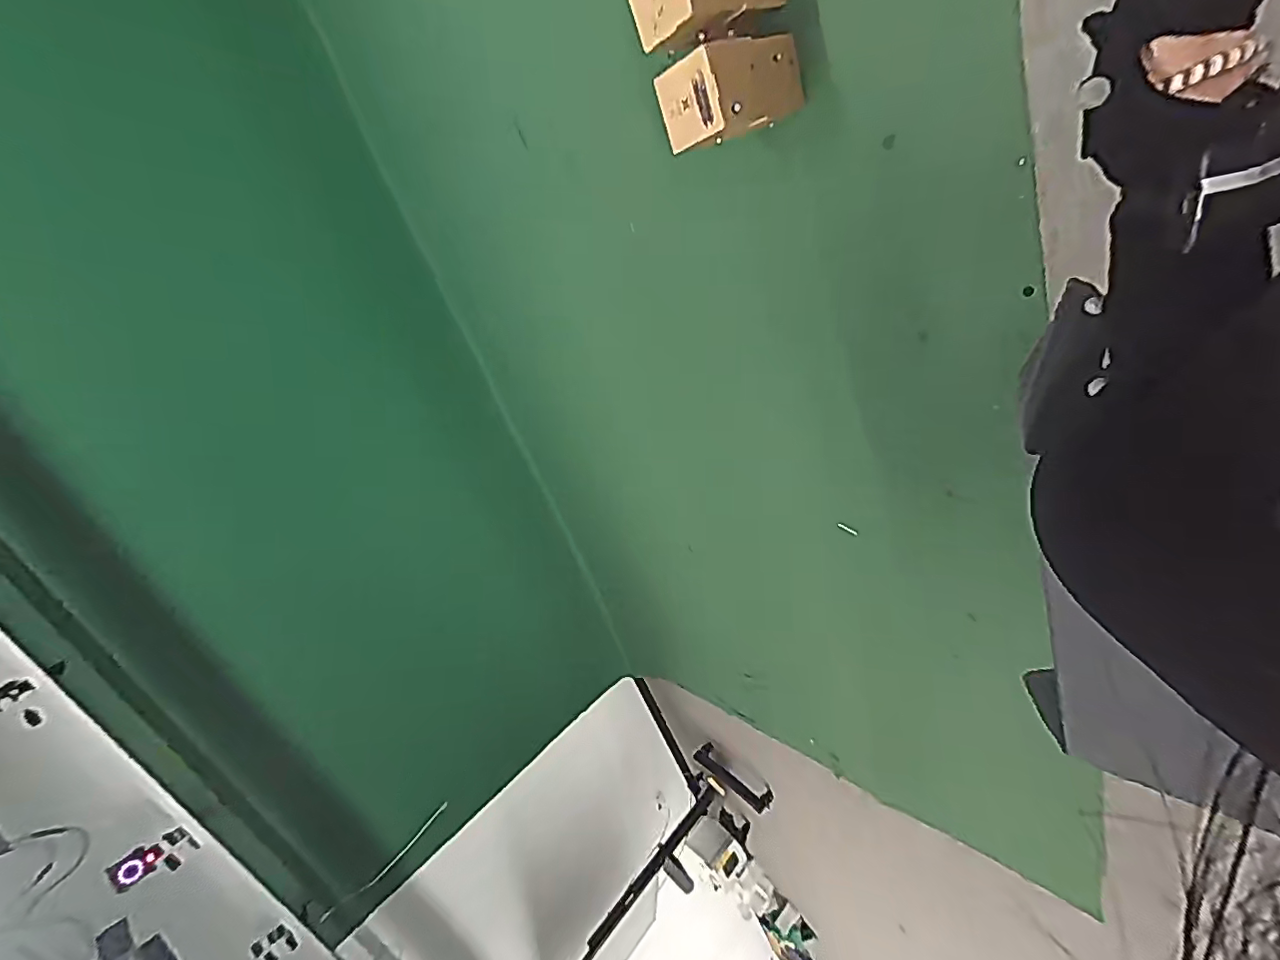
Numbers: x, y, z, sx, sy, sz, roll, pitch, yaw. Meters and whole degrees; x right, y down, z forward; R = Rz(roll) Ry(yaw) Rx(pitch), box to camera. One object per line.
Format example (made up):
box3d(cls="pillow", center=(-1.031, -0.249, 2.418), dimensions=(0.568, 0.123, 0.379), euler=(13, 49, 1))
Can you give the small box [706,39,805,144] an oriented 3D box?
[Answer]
box3d(cls="small box", center=(0.305, -0.998, 1.390), dimensions=(0.179, 0.176, 0.168), euler=(12, 129, 50))
